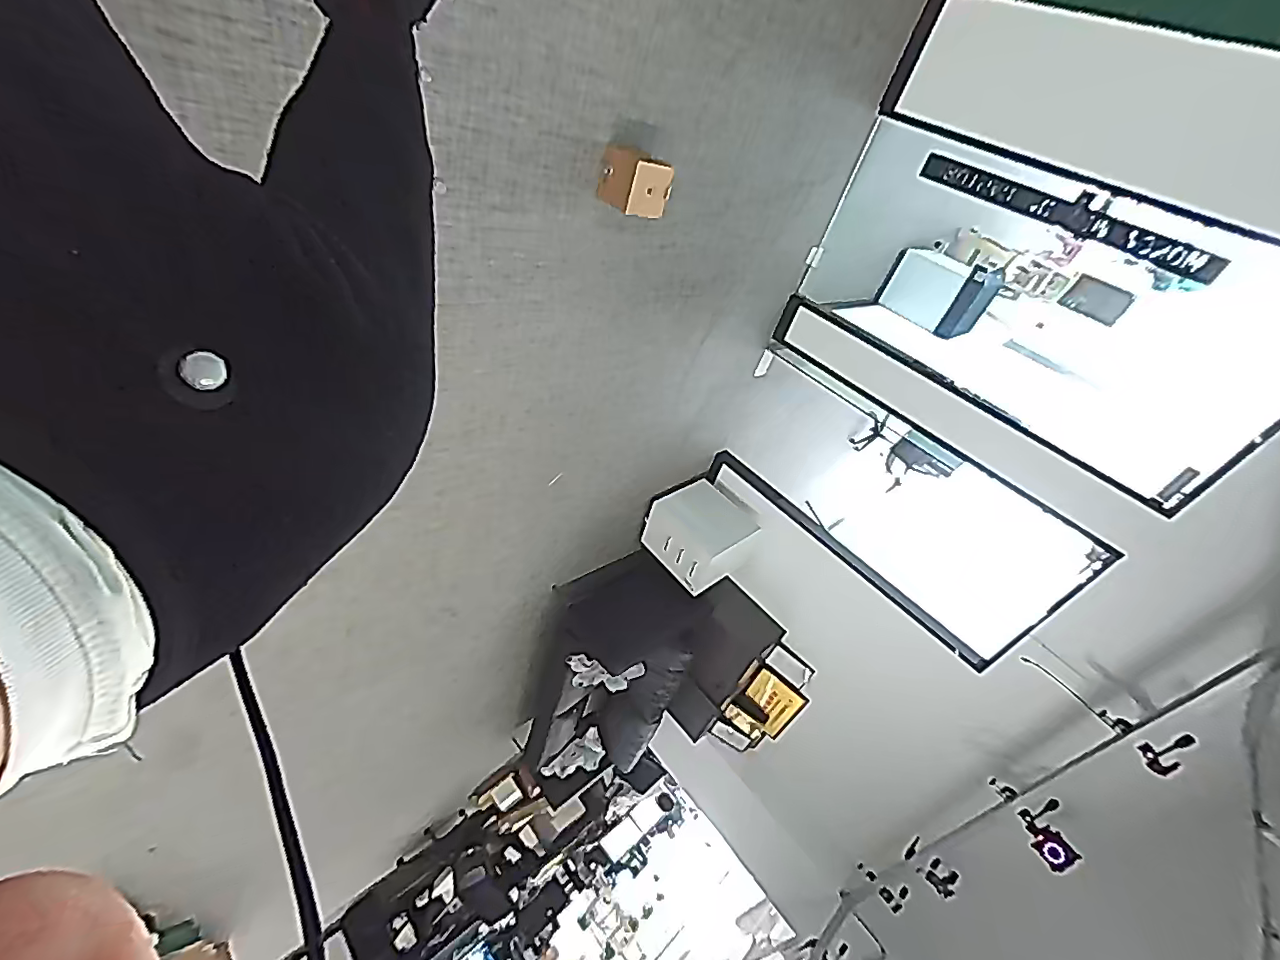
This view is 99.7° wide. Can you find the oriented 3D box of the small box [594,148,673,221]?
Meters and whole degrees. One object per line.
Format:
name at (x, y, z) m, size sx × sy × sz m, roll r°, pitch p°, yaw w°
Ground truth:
small box at (-0.025, -0.999, 1.829) m, size 0.179 × 0.176 × 0.168 m, roll -17°, pitch 139°, yaw -44°
